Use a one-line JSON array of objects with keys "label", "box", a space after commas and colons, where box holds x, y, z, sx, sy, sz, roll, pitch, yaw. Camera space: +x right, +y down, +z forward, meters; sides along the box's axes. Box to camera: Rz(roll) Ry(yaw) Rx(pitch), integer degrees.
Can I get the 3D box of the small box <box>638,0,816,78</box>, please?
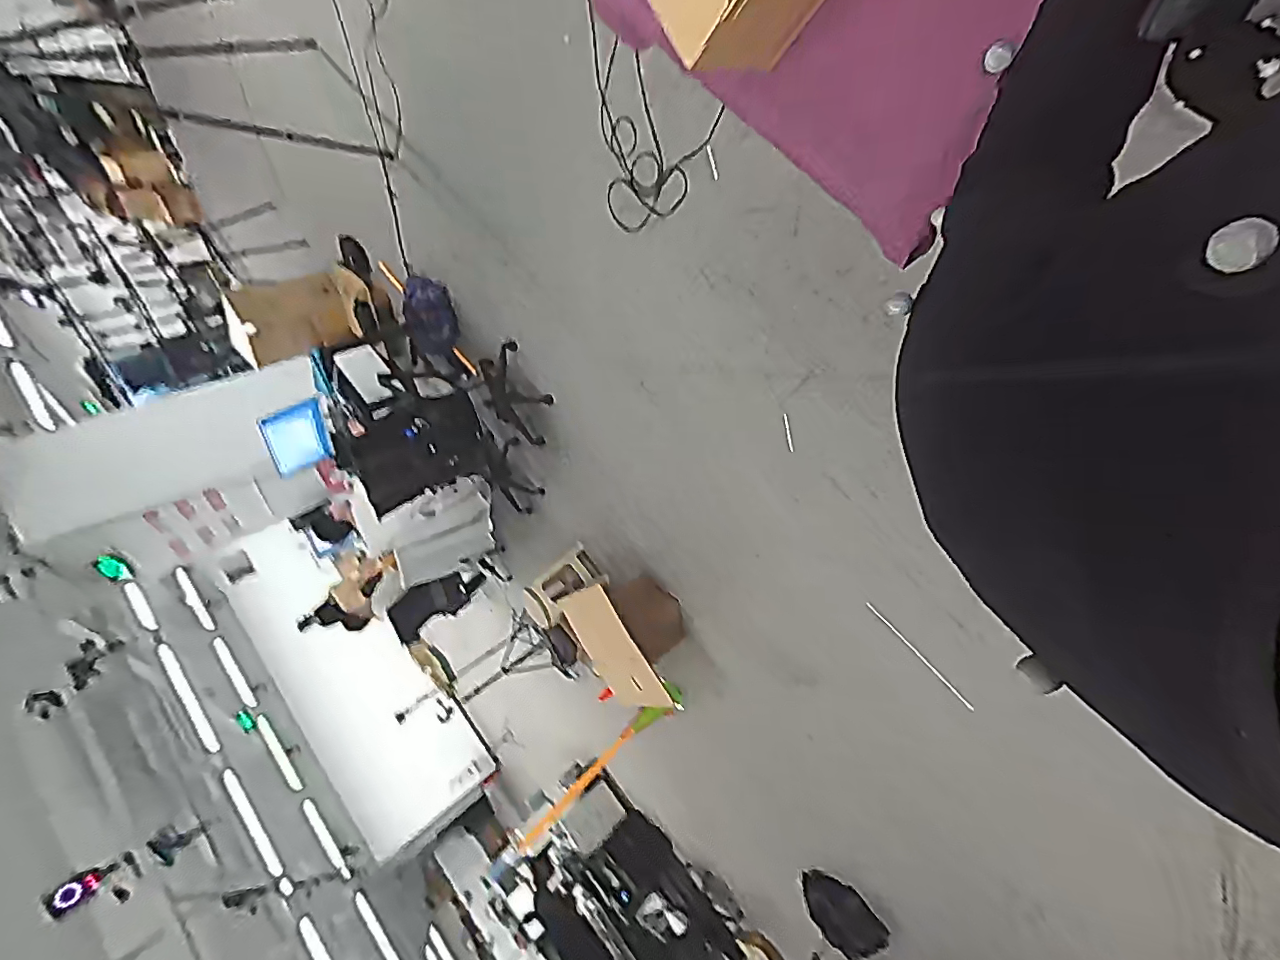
[{"label": "small box", "box": [0.103, -0.589, 0.593, 0.179, 0.176, 0.168, 60, 146, -2]}]
